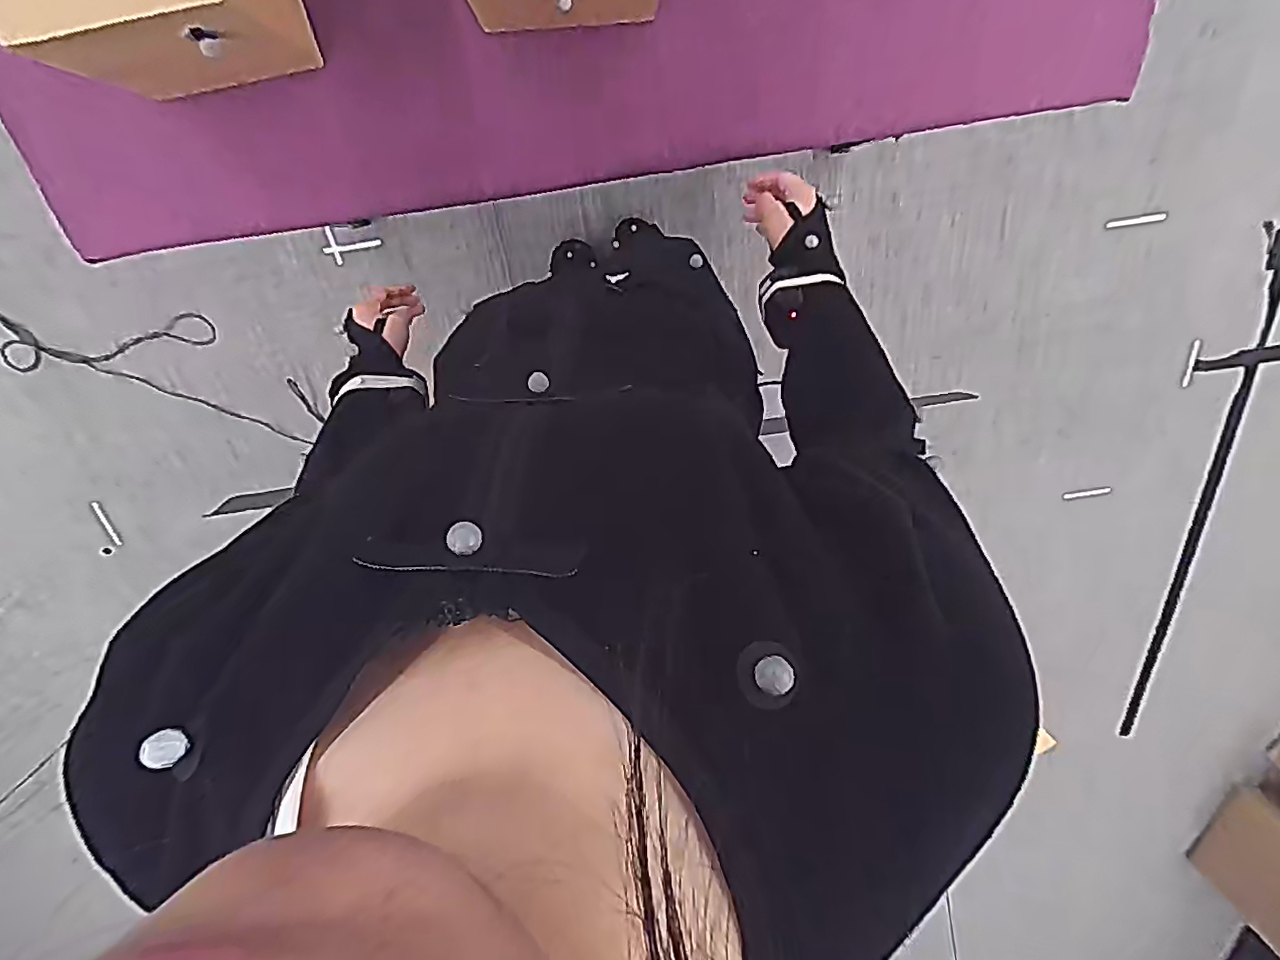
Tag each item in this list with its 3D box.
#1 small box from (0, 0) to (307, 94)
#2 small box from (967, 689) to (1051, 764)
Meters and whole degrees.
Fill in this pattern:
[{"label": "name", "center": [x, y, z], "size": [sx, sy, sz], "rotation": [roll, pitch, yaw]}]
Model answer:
[{"label": "small box", "center": [-0.411, -0.445, 0.442], "size": [0.179, 0.176, 0.168], "rotation": [-11, 114, 0]}, {"label": "small box", "center": [1.393, 0.929, 2.053], "size": [0.179, 0.176, 0.168], "rotation": [40, 107, -21]}]
